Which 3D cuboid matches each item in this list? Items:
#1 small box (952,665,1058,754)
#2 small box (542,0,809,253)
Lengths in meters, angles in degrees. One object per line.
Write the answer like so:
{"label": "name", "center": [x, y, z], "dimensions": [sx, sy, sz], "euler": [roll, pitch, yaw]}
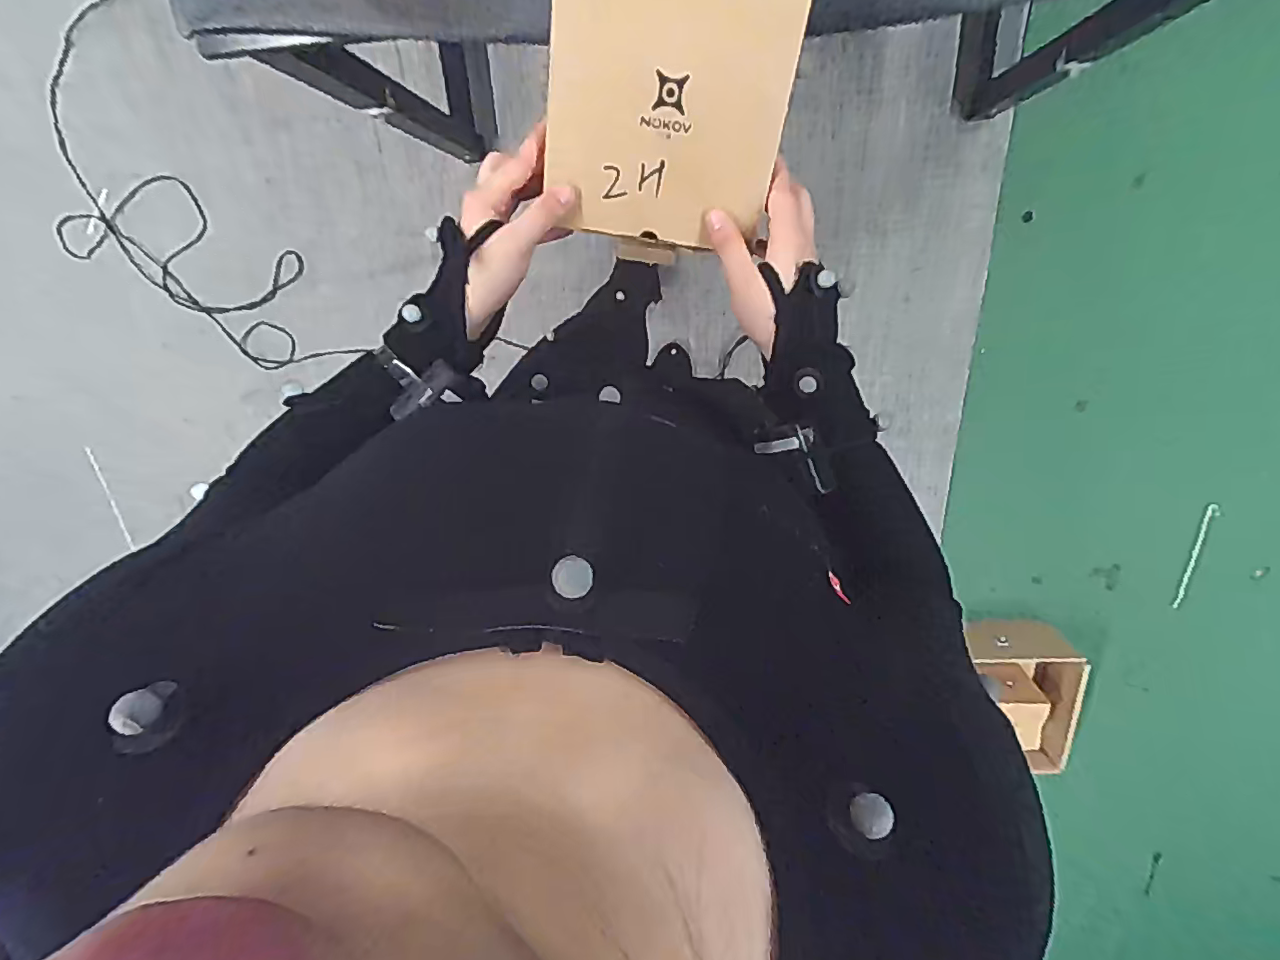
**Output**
{"label": "small box", "center": [1.008, 0.636, 1.510], "dimensions": [0.179, 0.176, 0.168], "euler": [-2, 112, 7]}
{"label": "small box", "center": [0.021, -0.300, 0.444], "dimensions": [0.168, 0.176, 0.179], "euler": [8, 119, -1]}
